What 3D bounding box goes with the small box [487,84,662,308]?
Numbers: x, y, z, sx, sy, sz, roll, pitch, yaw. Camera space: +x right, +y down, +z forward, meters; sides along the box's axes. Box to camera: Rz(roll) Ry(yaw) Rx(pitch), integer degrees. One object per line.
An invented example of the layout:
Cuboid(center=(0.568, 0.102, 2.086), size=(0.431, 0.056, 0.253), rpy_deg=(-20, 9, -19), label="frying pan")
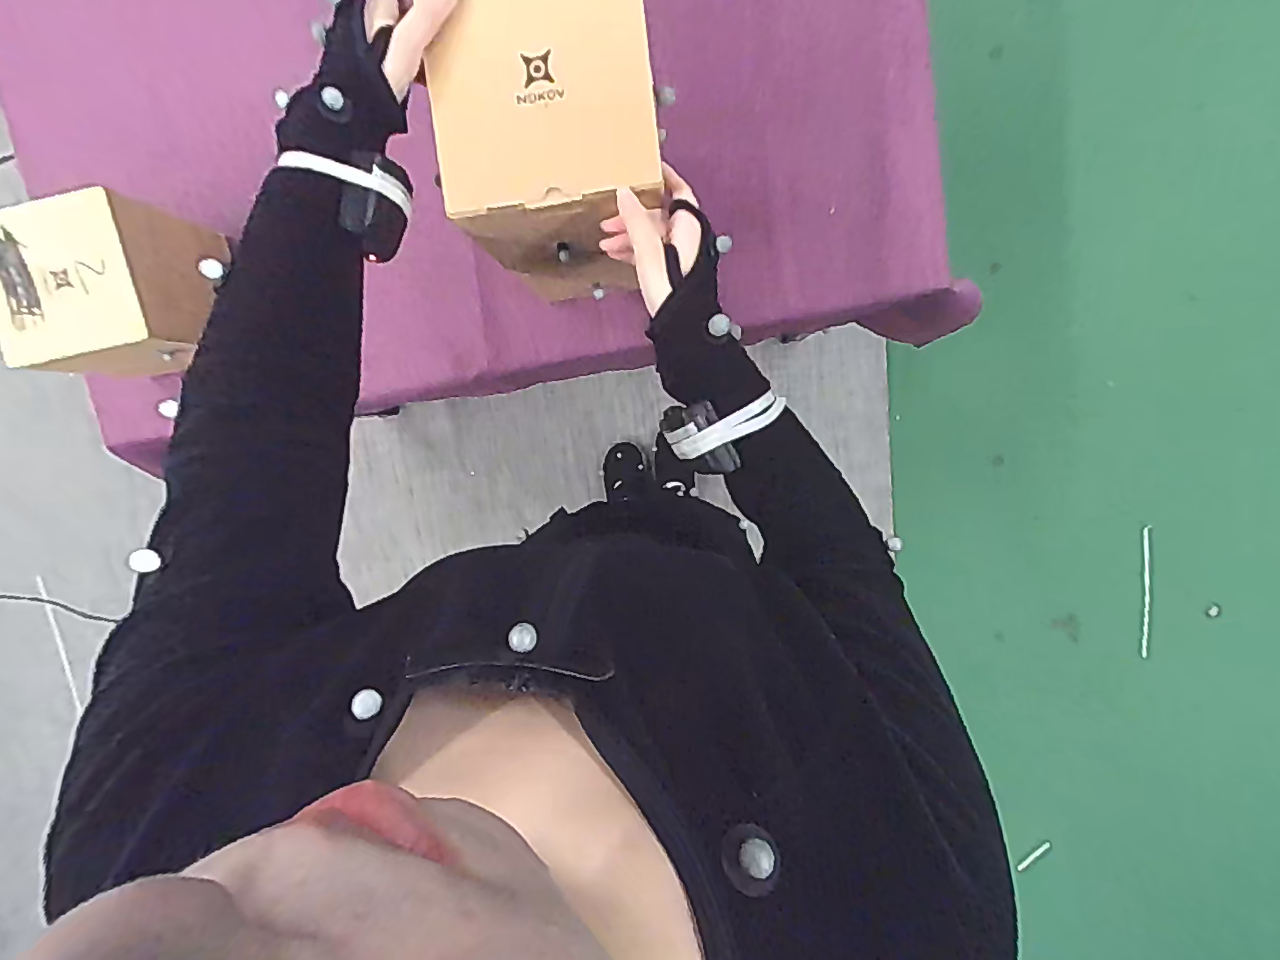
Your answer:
Cuboid(center=(-0.065, -0.315, 0.636), size=(0.168, 0.176, 0.179), rpy_deg=(-6, 98, 4), label="small box")
